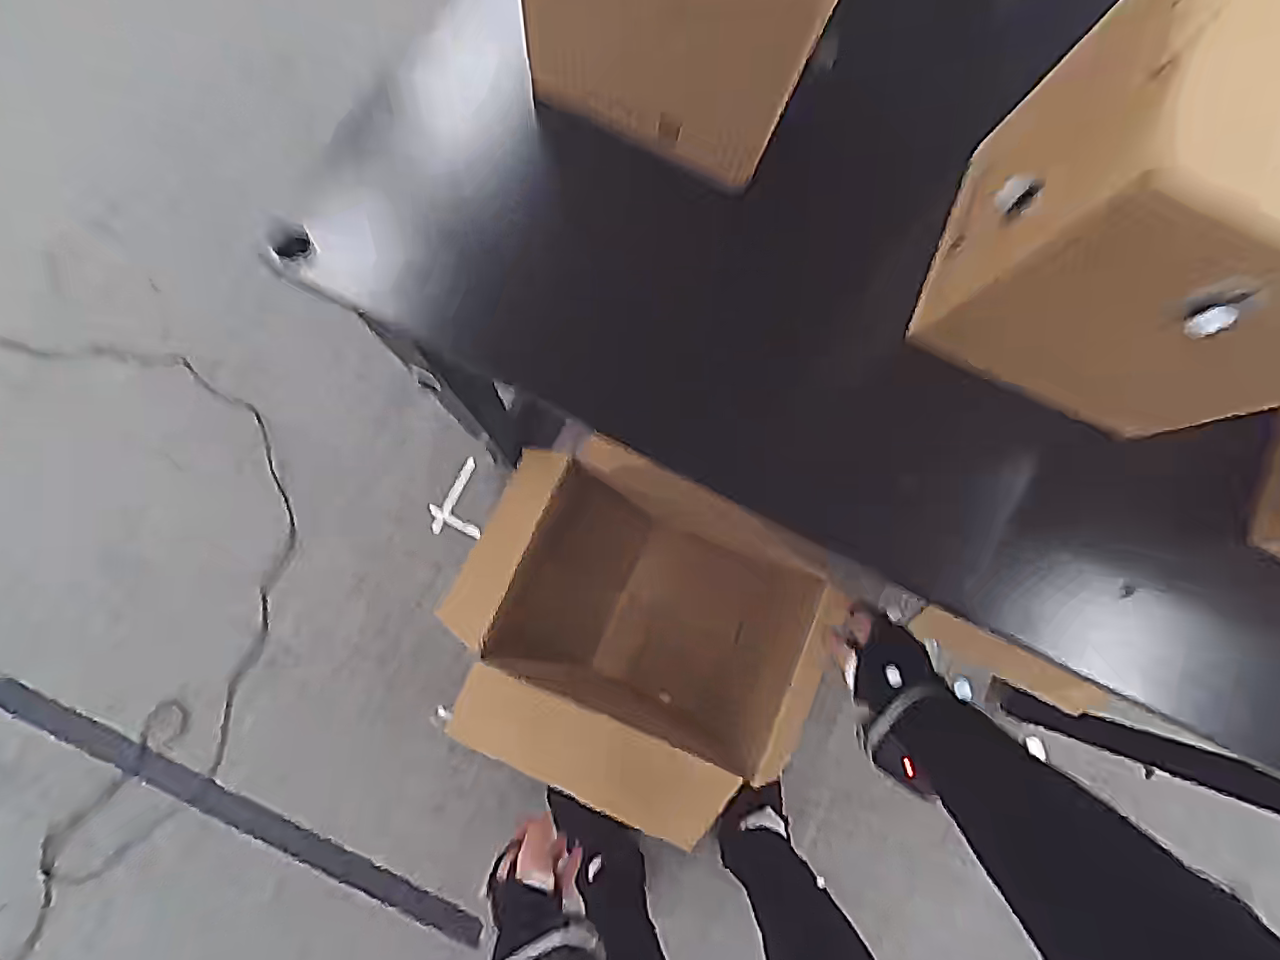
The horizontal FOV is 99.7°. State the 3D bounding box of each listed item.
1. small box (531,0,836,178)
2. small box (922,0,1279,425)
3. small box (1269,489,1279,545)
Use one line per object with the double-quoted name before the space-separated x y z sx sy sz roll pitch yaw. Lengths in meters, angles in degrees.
"small box" 0.042 -0.321 0.298 0.168 0.176 0.179 26 80 -2
"small box" 0.300 -0.147 0.302 0.179 0.176 0.168 24 81 -3
"small box" 0.537 0.003 0.303 0.179 0.176 0.168 29 80 -1
